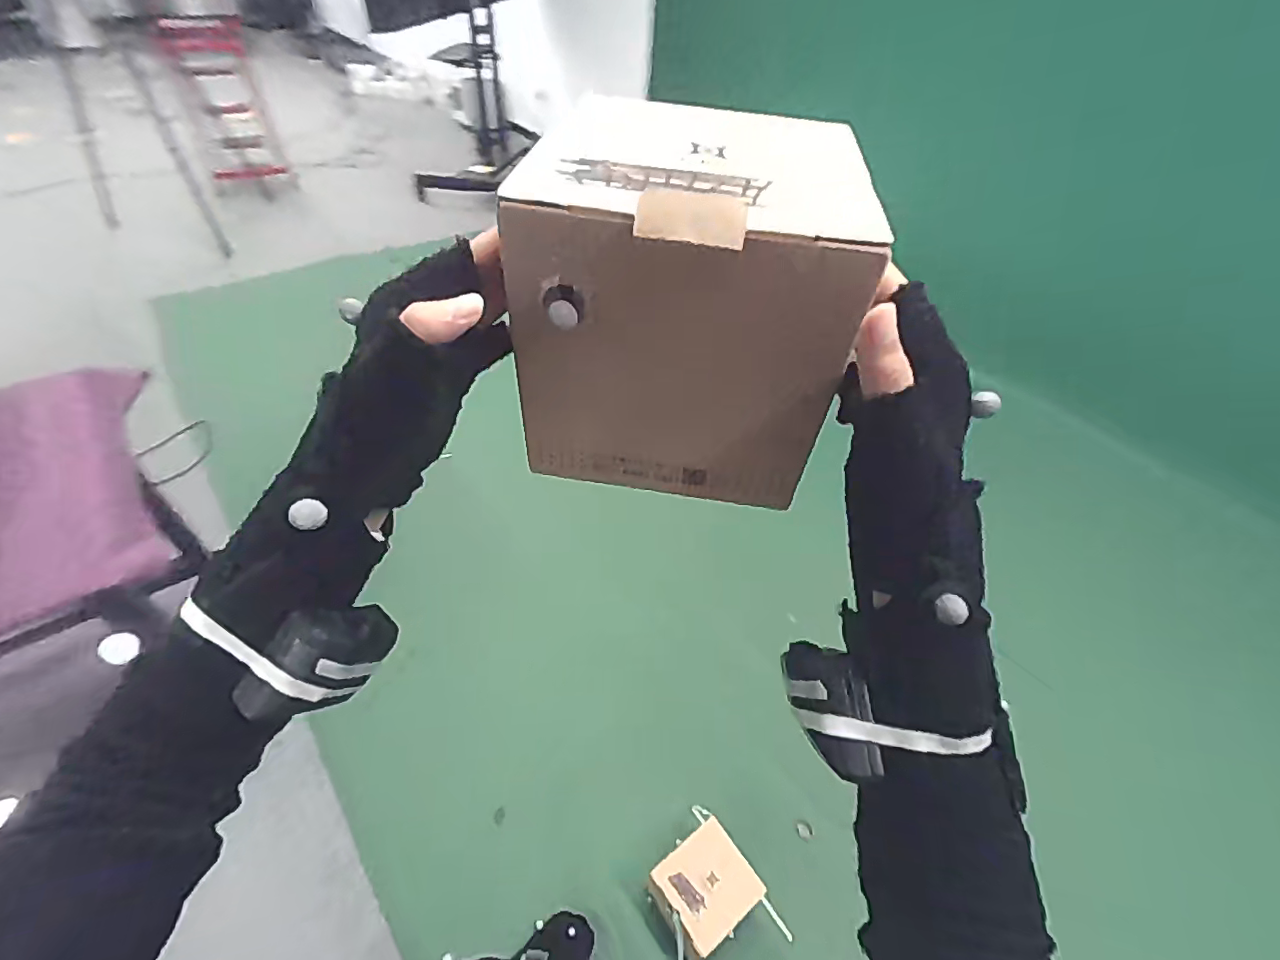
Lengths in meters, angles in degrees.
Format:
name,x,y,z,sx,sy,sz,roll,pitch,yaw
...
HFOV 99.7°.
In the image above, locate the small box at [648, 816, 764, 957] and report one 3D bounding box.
name,x,y,z,sx,sy,sz,roll,pitch,yaw
small box,0.130,0.860,1.140,0.179,0.176,0.168,-25,55,-27
